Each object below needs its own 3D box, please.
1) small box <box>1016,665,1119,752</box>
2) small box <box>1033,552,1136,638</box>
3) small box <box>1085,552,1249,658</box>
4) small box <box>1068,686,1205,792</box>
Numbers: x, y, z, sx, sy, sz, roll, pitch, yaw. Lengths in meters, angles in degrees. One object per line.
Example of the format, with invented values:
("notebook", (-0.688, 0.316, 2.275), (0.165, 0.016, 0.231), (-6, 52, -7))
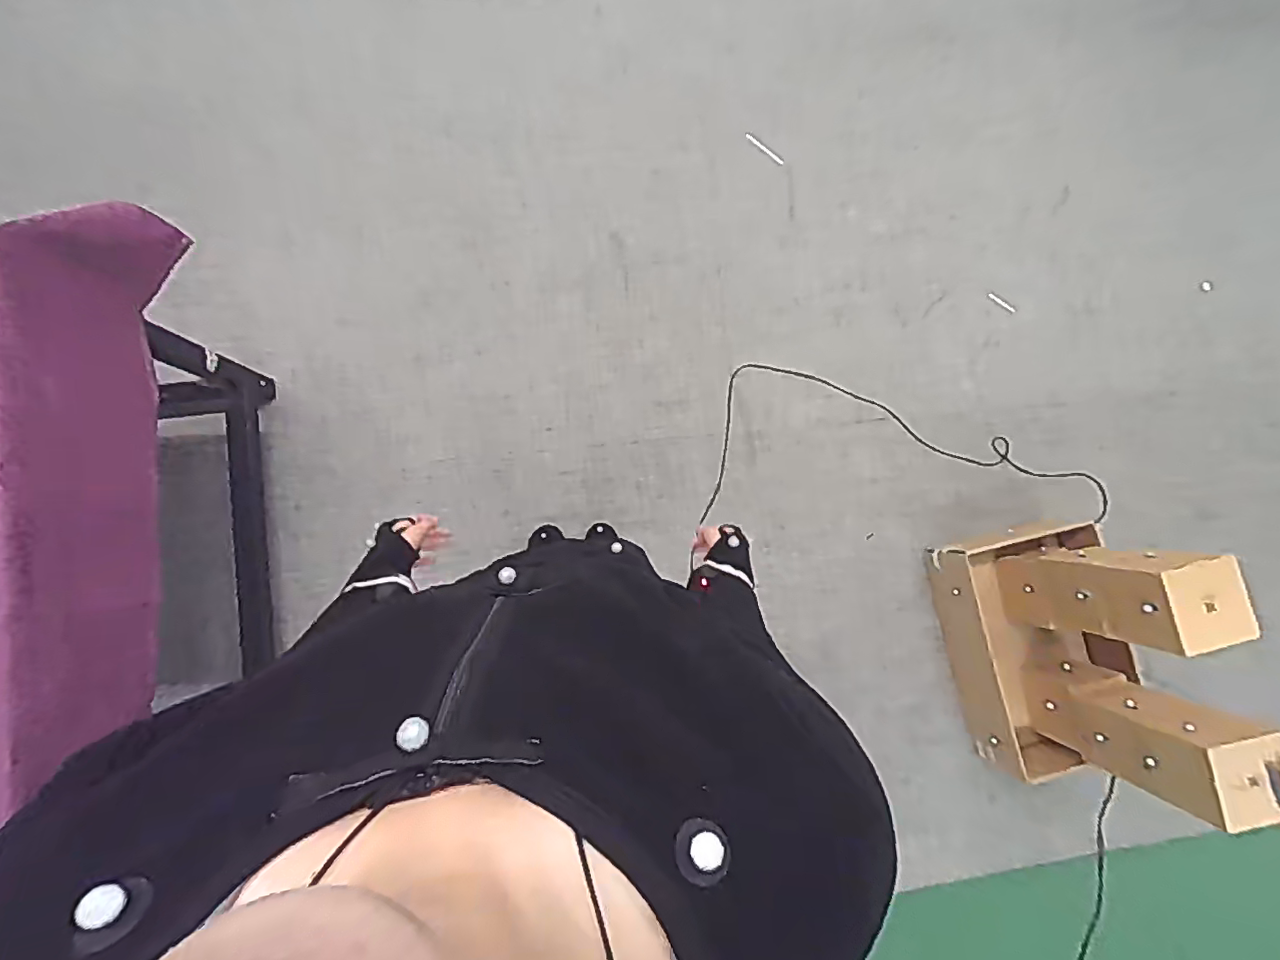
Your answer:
("small box", (1.169, 0.615, 1.471), (0.168, 0.176, 0.179), (-9, 85, -5))
("small box", (1.114, 0.274, 1.331), (0.168, 0.176, 0.179), (-9, 87, -4))
("small box", (1.125, 0.262, 1.170), (0.168, 0.176, 0.179), (-14, 86, -4))
("small box", (1.182, 0.616, 1.306), (0.179, 0.176, 0.168), (-9, 87, -6))
